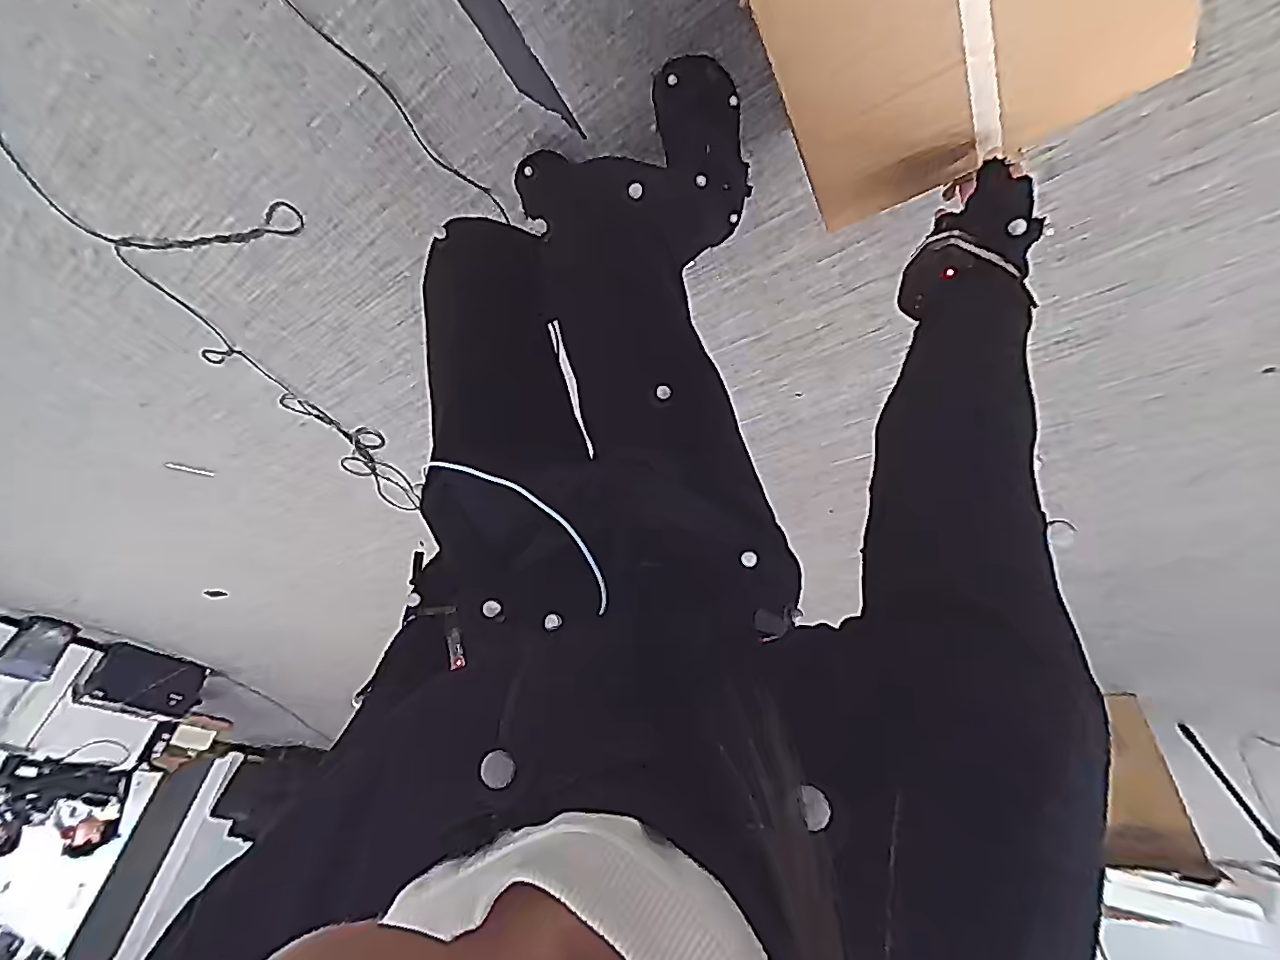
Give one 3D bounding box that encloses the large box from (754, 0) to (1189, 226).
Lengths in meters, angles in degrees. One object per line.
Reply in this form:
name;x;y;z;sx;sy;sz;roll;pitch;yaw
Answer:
large box;0.267;-0.555;0.520;0.320;0.320;0.408;-17;136;27
